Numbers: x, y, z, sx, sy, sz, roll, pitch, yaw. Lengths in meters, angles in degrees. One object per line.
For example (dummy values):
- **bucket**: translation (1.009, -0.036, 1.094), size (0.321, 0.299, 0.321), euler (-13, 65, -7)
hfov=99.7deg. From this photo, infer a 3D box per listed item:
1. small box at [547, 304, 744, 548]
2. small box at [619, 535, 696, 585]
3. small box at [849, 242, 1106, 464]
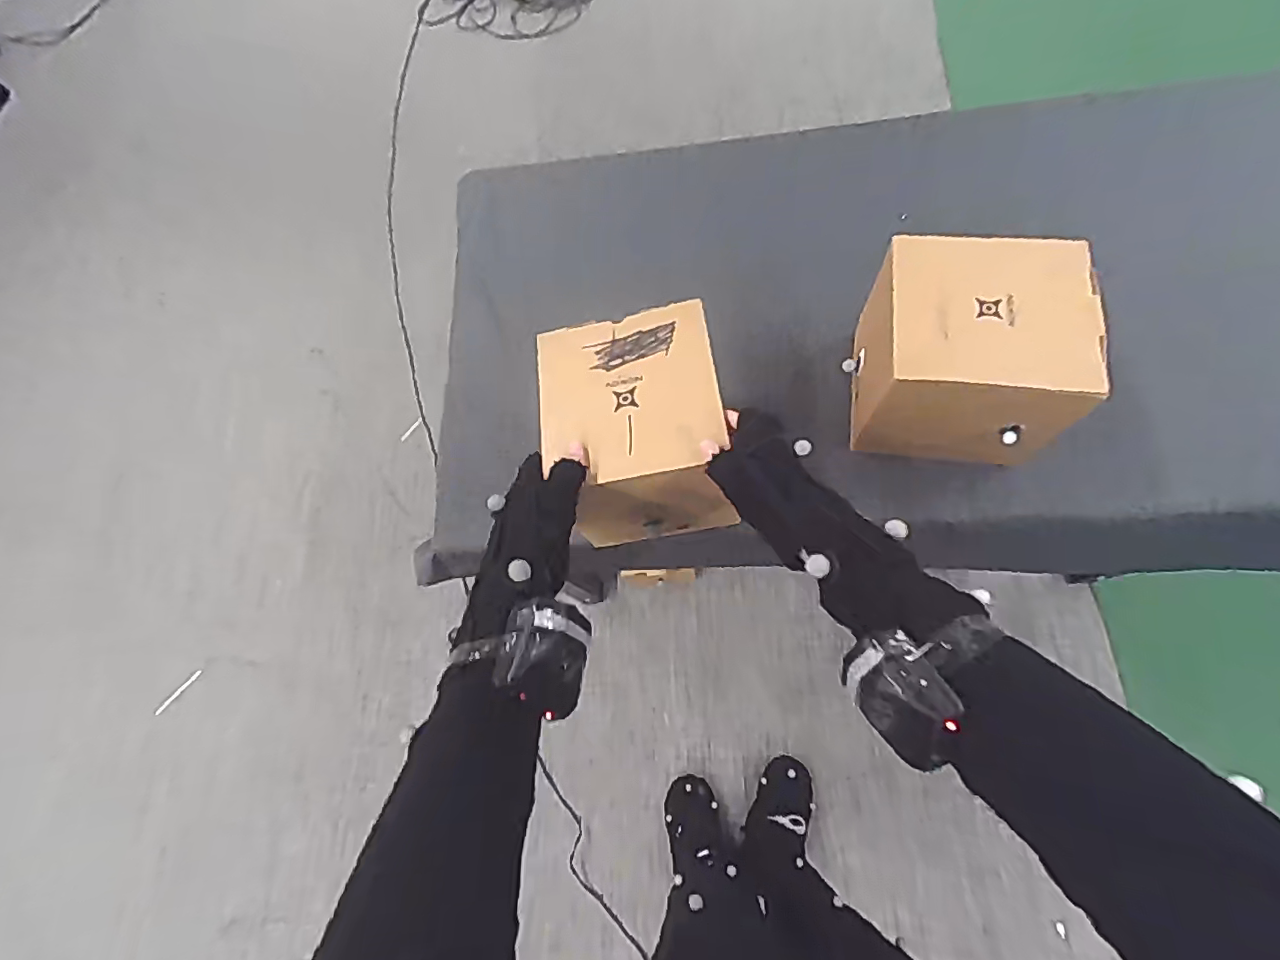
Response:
- **small box**: translation (0.011, -0.045, 0.560), size (0.168, 0.176, 0.179), euler (-11, 66, 8)
- **small box**: translation (0.042, 0.153, 1.289), size (0.168, 0.176, 0.179), euler (-6, 70, 5)
- **small box**: translation (0.335, -0.125, 0.576), size (0.179, 0.176, 0.168), euler (5, 70, 10)
